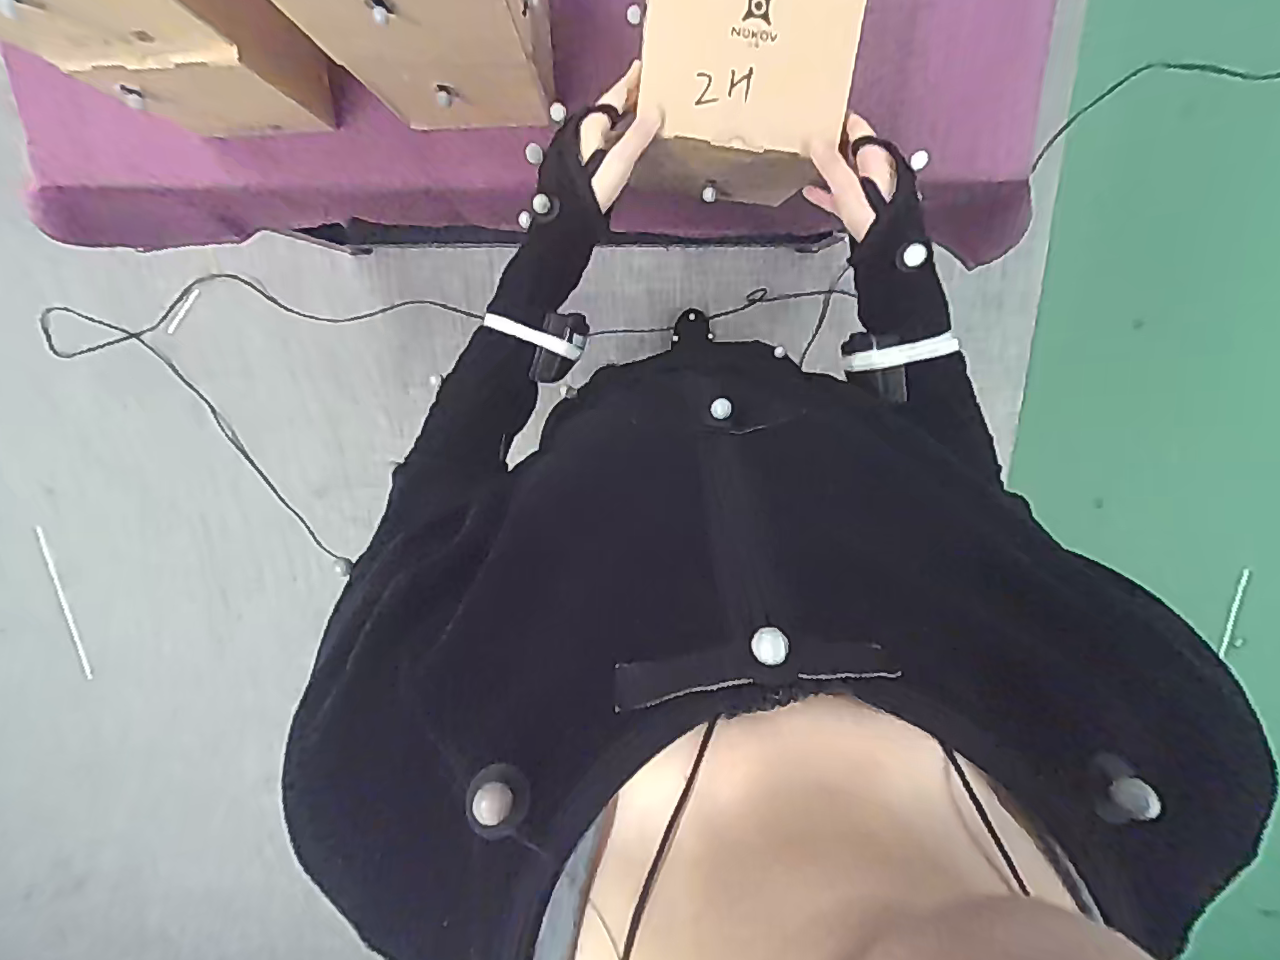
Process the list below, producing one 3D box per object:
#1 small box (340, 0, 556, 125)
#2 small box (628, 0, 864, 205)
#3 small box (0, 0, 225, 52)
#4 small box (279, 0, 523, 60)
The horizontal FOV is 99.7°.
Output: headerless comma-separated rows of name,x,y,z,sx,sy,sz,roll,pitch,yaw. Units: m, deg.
small box,-0.187,-0.479,0.542,0.179,0.176,0.168,-1,105,0
small box,0.080,-0.367,0.480,0.168,0.176,0.179,7,105,-3
small box,-0.445,-0.441,0.382,0.168,0.176,0.179,-5,103,1
small box,-0.184,-0.433,0.384,0.179,0.176,0.168,0,104,0
